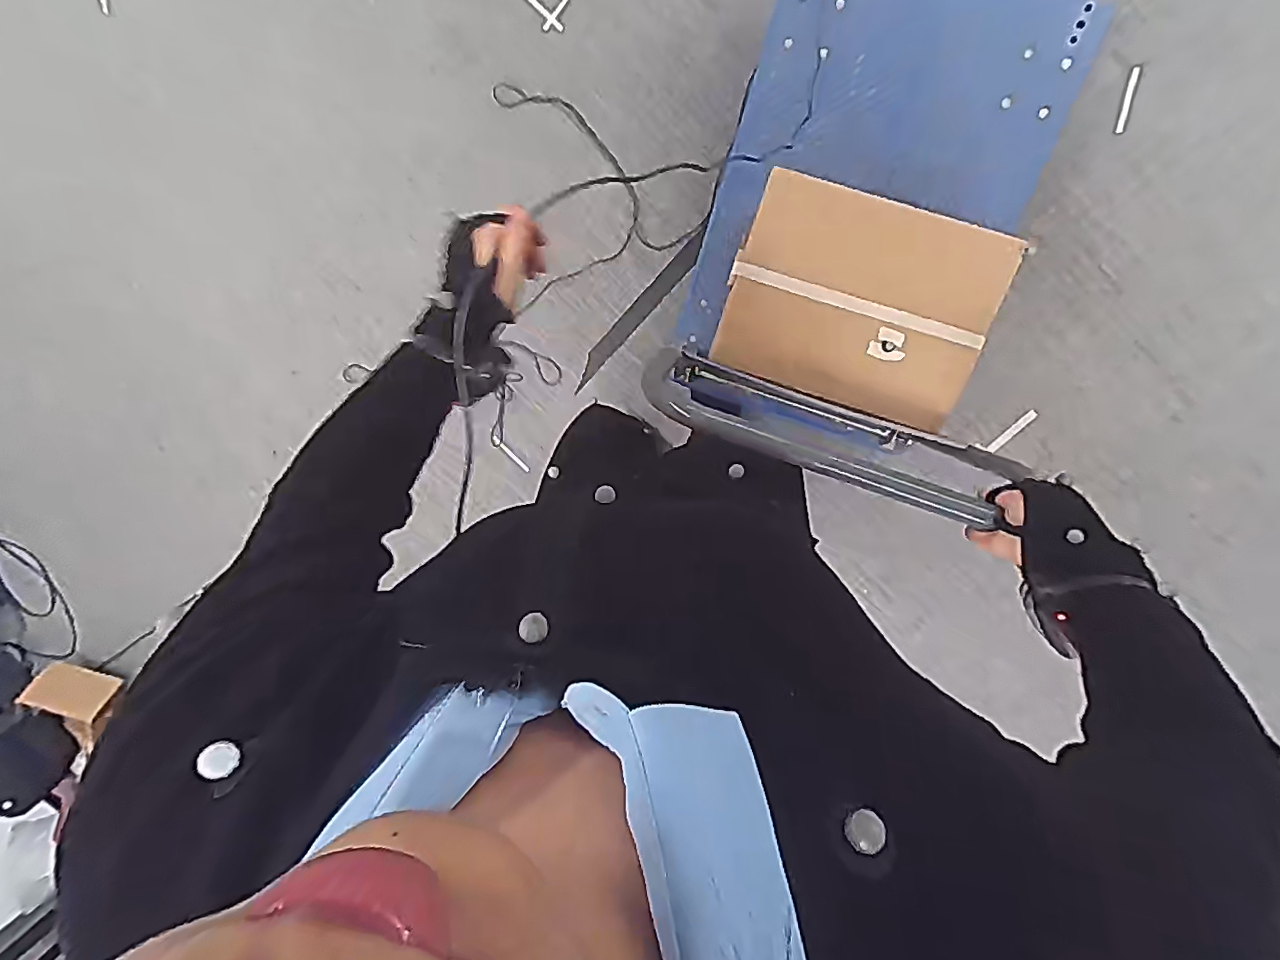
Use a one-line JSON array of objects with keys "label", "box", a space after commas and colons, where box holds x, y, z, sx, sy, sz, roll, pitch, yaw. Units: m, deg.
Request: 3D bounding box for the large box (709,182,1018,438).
[{"label": "large box", "box": [0.364, -0.303, 1.015, 0.408, 0.320, 0.320, 19, 107, 3]}]
